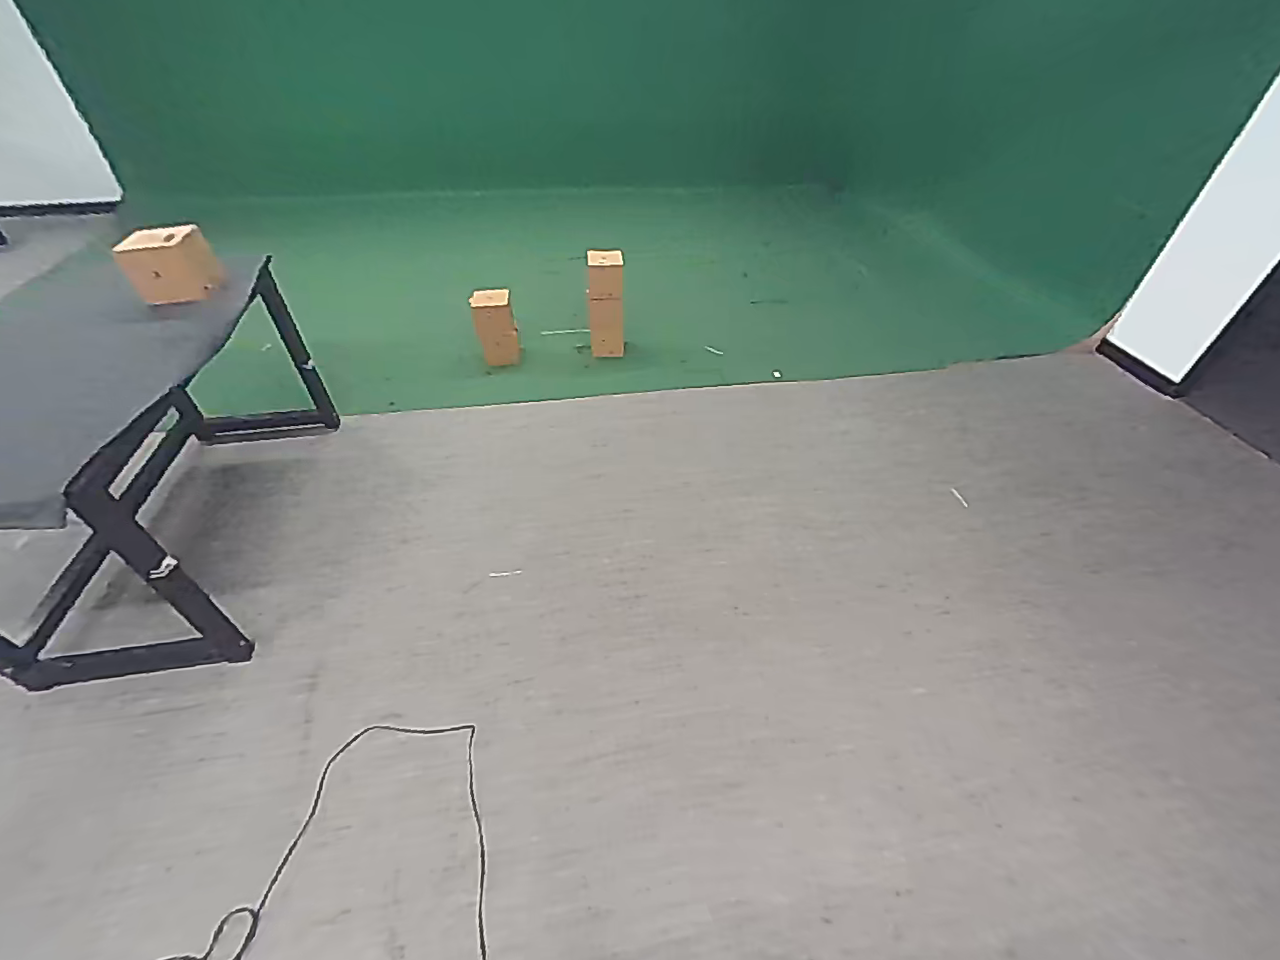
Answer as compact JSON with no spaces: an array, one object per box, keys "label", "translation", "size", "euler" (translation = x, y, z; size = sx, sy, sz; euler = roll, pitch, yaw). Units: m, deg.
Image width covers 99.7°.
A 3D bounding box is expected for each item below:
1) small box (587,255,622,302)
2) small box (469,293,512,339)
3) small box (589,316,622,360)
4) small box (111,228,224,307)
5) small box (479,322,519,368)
[{"label":"small box","translation":[-0.177,-0.982,2.633],"size":[0.168,0.176,0.179],"euler":[-2,43,-6]},{"label":"small box","translation":[-0.734,-0.809,2.671],"size":[0.179,0.176,0.168],"euler":[-4,45,-7]},{"label":"small box","translation":[-0.180,-0.751,2.868],"size":[0.168,0.176,0.179],"euler":[0,43,-2]},{"label":"small box","translation":[-1.433,-0.651,1.657],"size":[0.179,0.176,0.168],"euler":[-8,45,-5]},{"label":"small box","translation":[-0.725,-0.693,2.786],"size":[0.179,0.176,0.168],"euler":[-6,45,-8]}]
